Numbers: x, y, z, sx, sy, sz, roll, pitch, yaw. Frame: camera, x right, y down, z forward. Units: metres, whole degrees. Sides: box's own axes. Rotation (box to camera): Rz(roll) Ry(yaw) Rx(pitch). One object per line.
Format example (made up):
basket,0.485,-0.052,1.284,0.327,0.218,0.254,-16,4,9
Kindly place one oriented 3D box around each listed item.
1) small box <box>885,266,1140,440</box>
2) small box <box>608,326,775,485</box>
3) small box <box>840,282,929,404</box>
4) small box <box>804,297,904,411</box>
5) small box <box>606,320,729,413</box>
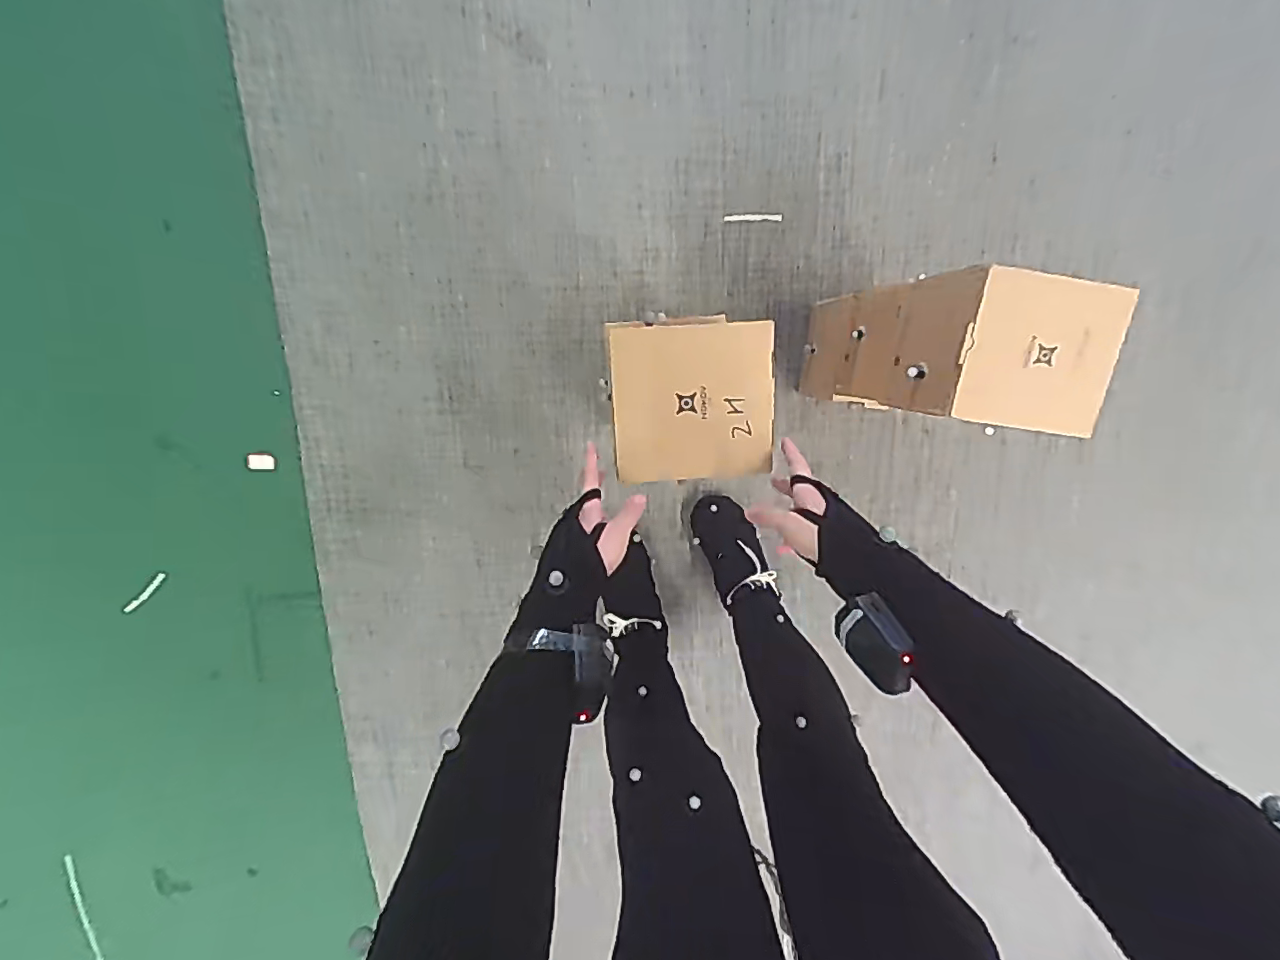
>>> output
small box,0.434,-0.153,0.665,0.179,0.176,0.168,7,103,-5
small box,0.054,-0.094,0.655,0.179,0.176,0.168,-4,103,-3
small box,0.431,-0.199,0.822,0.179,0.176,0.168,3,103,-3
small box,0.413,-0.227,0.981,0.168,0.176,0.179,4,104,-5
small box,0.039,-0.141,0.813,0.168,0.176,0.179,-5,102,-2
